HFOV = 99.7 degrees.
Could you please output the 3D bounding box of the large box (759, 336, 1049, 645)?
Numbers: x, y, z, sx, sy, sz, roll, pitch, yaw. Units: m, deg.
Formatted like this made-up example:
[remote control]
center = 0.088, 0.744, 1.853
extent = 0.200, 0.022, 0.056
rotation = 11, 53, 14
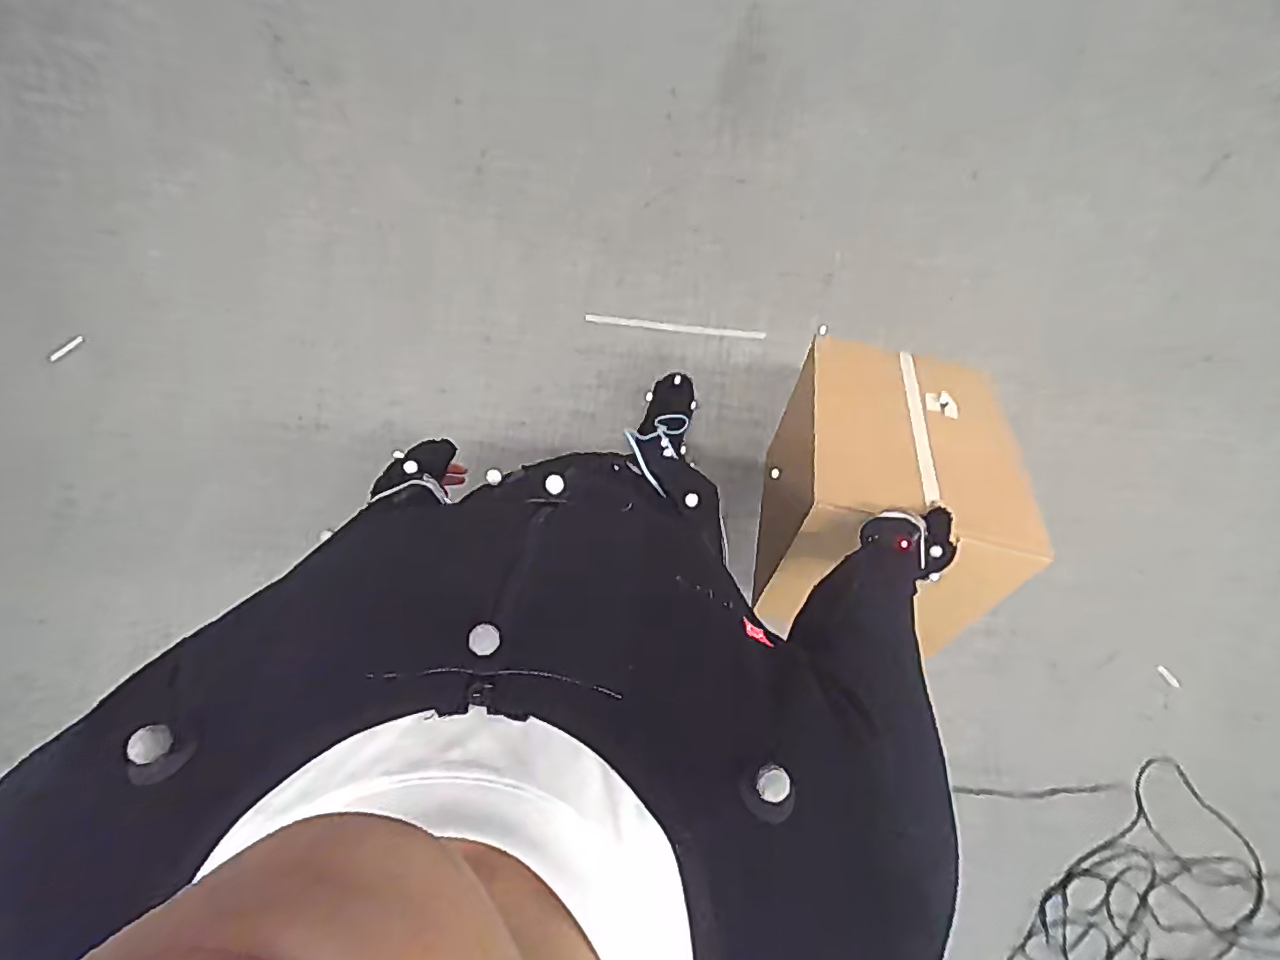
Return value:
[large box]
center = 0.404, 0.015, 0.942
extent = 0.320, 0.408, 0.320
rotation = 14, 139, 3
